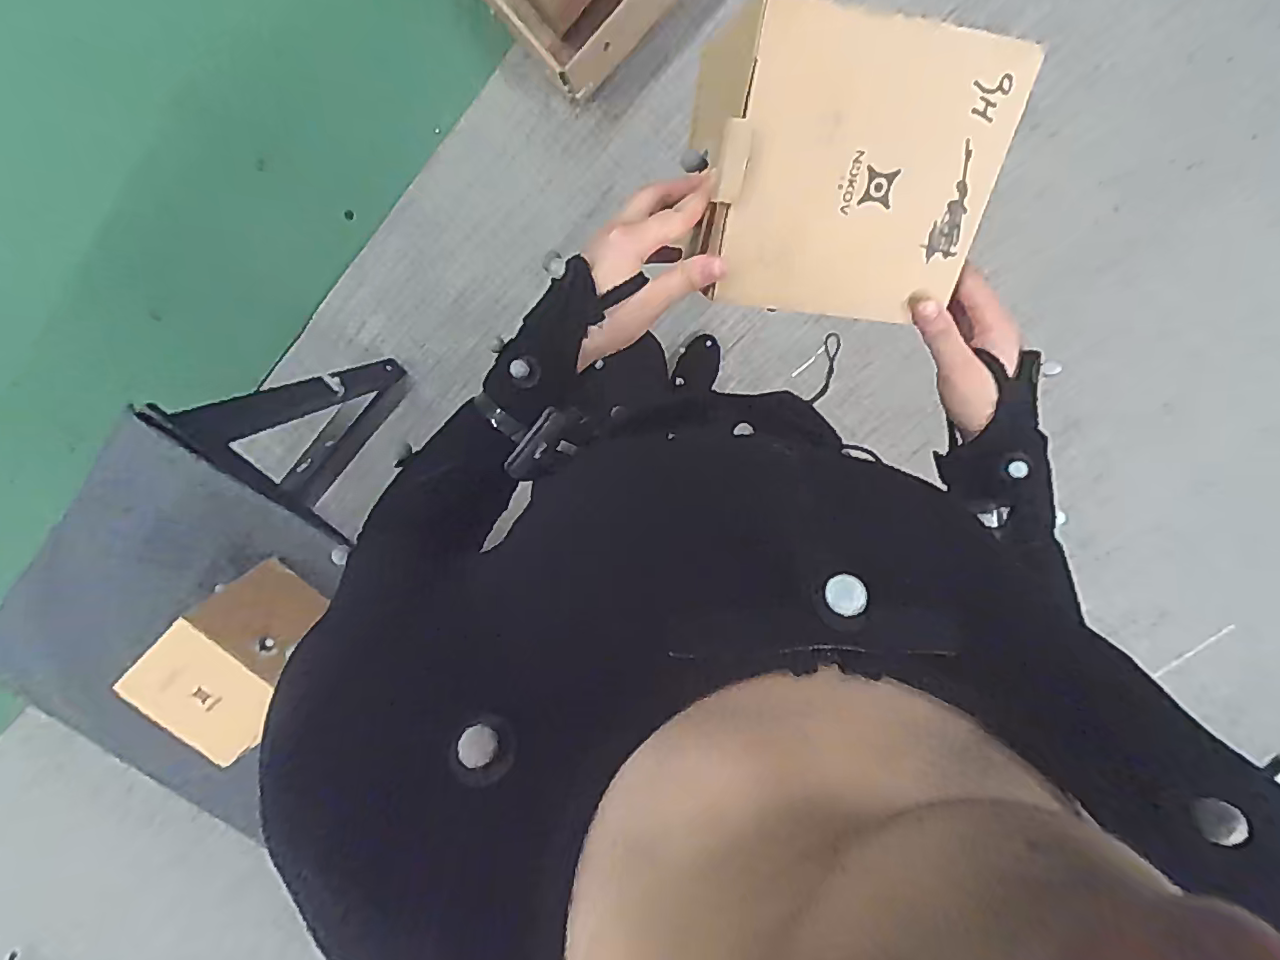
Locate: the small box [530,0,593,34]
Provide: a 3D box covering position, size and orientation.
[{"bbox_3d":[-0.161,-1.011,1.024,0.179,0.176,0.168,-43,104,12],"label":"small box"}]

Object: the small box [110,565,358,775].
[{"bbox_3d":[-0.536,0.250,0.743,0.168,0.176,0.179,-40,103,13],"label":"small box"}]

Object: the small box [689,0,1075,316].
[{"bbox_3d":[0.143,-0.231,0.399,0.179,0.176,0.168,4,119,-9],"label":"small box"}]
